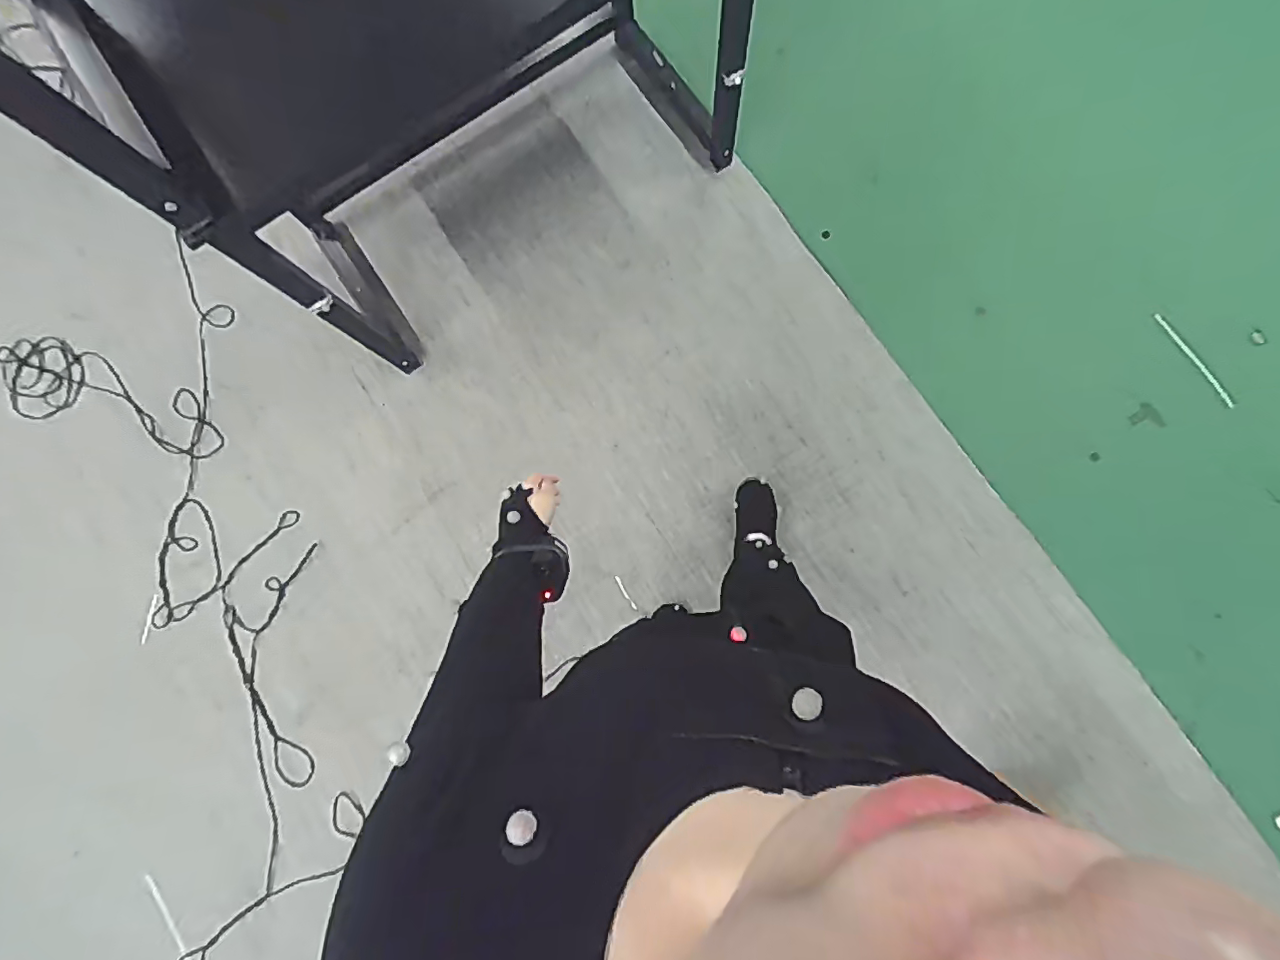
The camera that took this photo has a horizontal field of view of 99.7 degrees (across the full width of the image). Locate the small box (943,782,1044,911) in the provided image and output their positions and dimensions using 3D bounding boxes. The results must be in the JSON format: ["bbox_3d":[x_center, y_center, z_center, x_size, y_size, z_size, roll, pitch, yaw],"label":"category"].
[{"bbox_3d":[0.853,0.840,1.263,0.168,0.176,0.179,-29,80,0],"label":"small box"}]
